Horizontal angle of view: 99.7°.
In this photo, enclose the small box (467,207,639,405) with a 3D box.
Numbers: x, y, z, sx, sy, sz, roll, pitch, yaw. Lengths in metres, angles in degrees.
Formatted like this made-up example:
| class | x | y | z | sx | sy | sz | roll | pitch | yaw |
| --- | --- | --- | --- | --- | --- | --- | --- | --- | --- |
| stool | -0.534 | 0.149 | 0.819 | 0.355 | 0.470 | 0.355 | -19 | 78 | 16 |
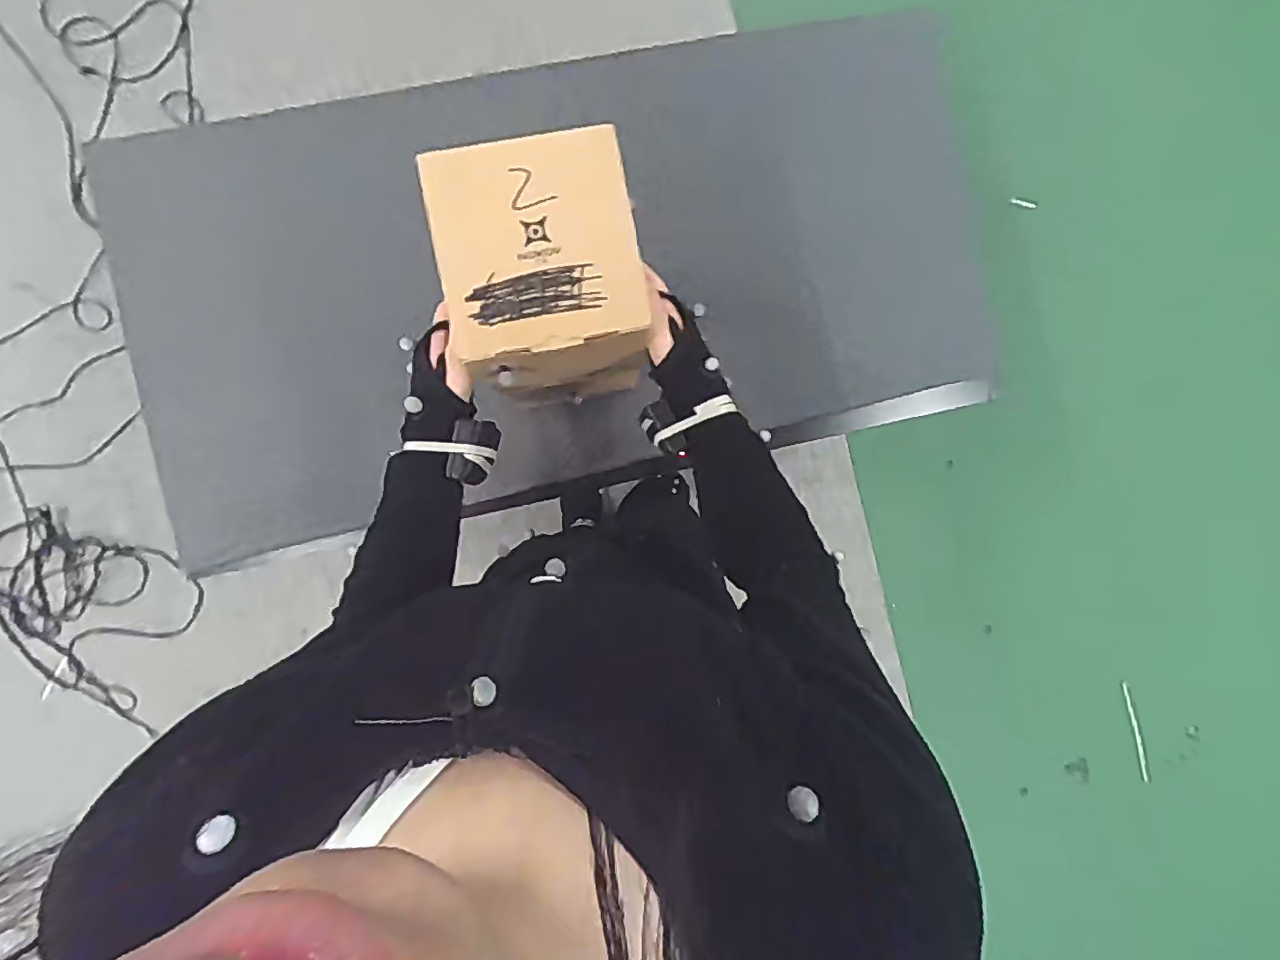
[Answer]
| class | x | y | z | sx | sy | sz | roll | pitch | yaw |
| --- | --- | --- | --- | --- | --- | --- | --- | --- | --- |
| small box | -0.101 | -0.204 | 0.674 | 0.168 | 0.176 | 0.179 | -12 | 90 | -3 |
